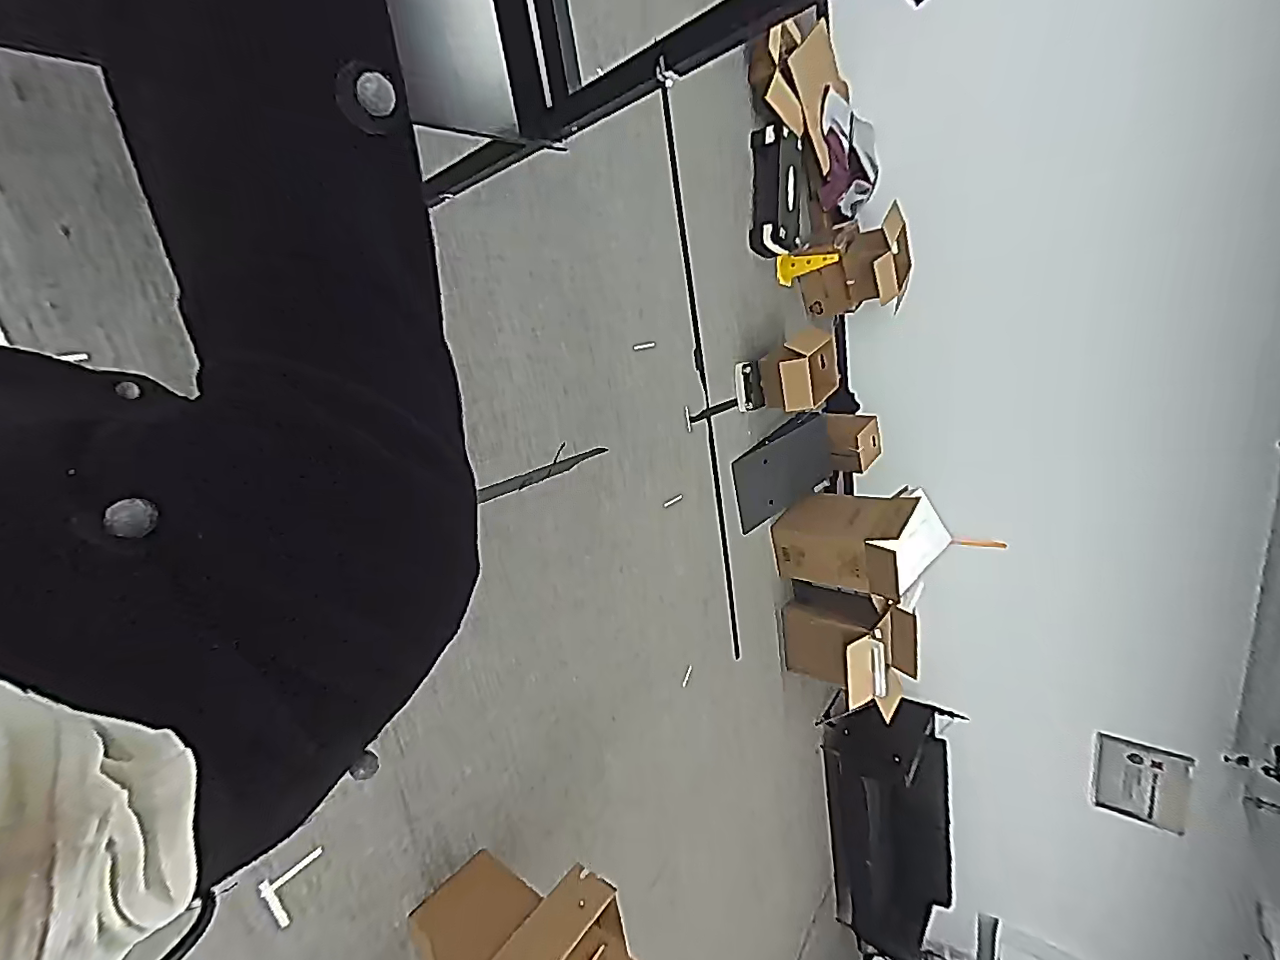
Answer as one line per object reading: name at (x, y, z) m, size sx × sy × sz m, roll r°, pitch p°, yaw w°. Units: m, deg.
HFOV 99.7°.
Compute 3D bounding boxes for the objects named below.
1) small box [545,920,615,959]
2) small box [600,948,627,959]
small box at (-0.188, 1.598, 1.766) m, size 0.168 × 0.176 × 0.179 m, roll -27°, pitch 115°, yaw -46°
small box at (-0.066, 1.605, 1.656) m, size 0.168 × 0.176 × 0.179 m, roll -29°, pitch 115°, yaw -46°
